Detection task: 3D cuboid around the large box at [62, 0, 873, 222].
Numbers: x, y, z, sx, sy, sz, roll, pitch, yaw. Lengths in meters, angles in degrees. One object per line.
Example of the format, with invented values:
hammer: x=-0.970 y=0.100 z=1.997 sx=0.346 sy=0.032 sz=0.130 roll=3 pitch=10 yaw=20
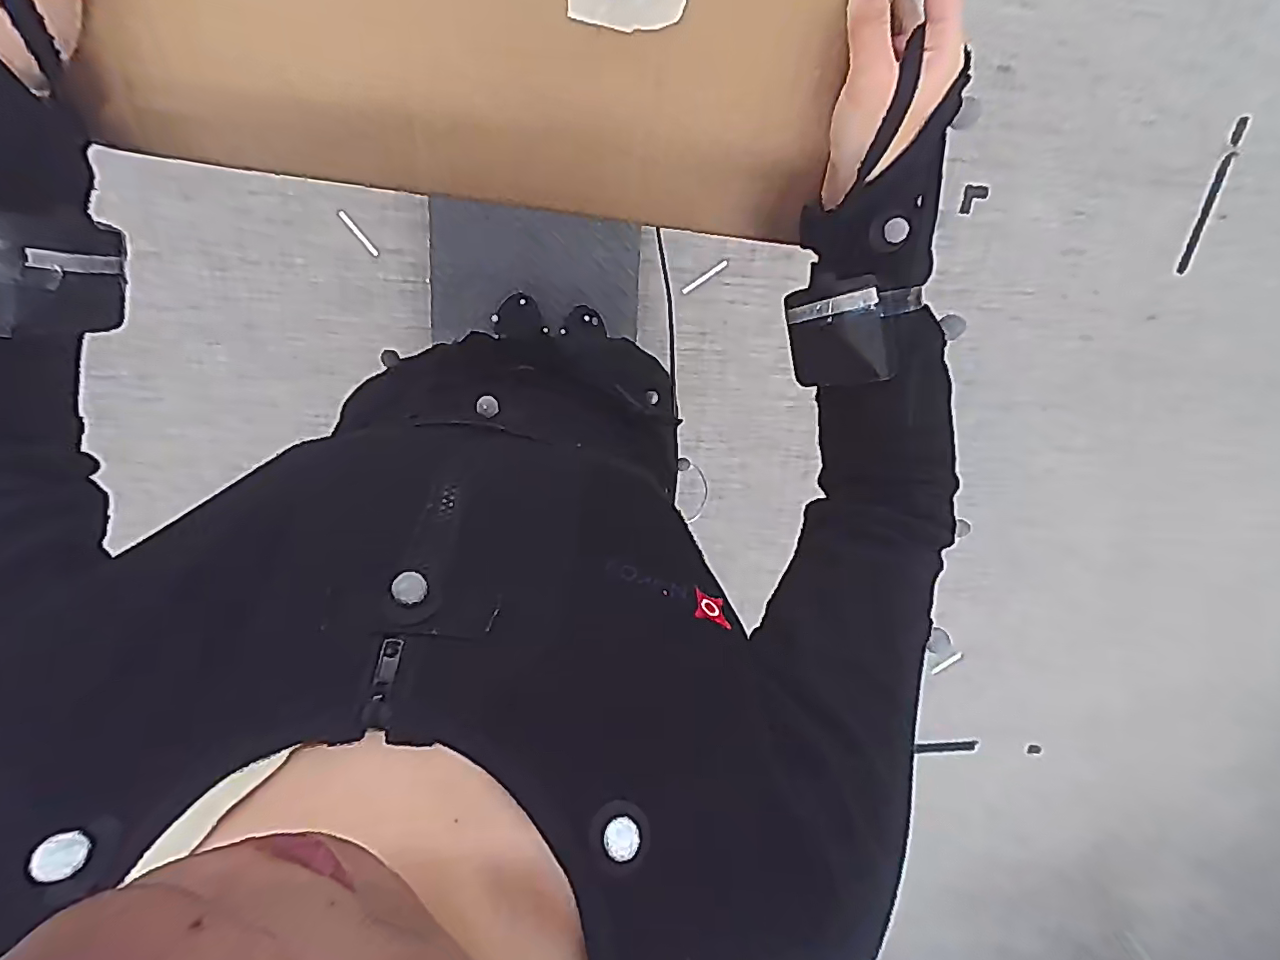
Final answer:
large box: x=-0.082 y=-0.387 z=0.348 sx=0.408 sy=0.320 sz=0.320 roll=3 pitch=128 yaw=-10
